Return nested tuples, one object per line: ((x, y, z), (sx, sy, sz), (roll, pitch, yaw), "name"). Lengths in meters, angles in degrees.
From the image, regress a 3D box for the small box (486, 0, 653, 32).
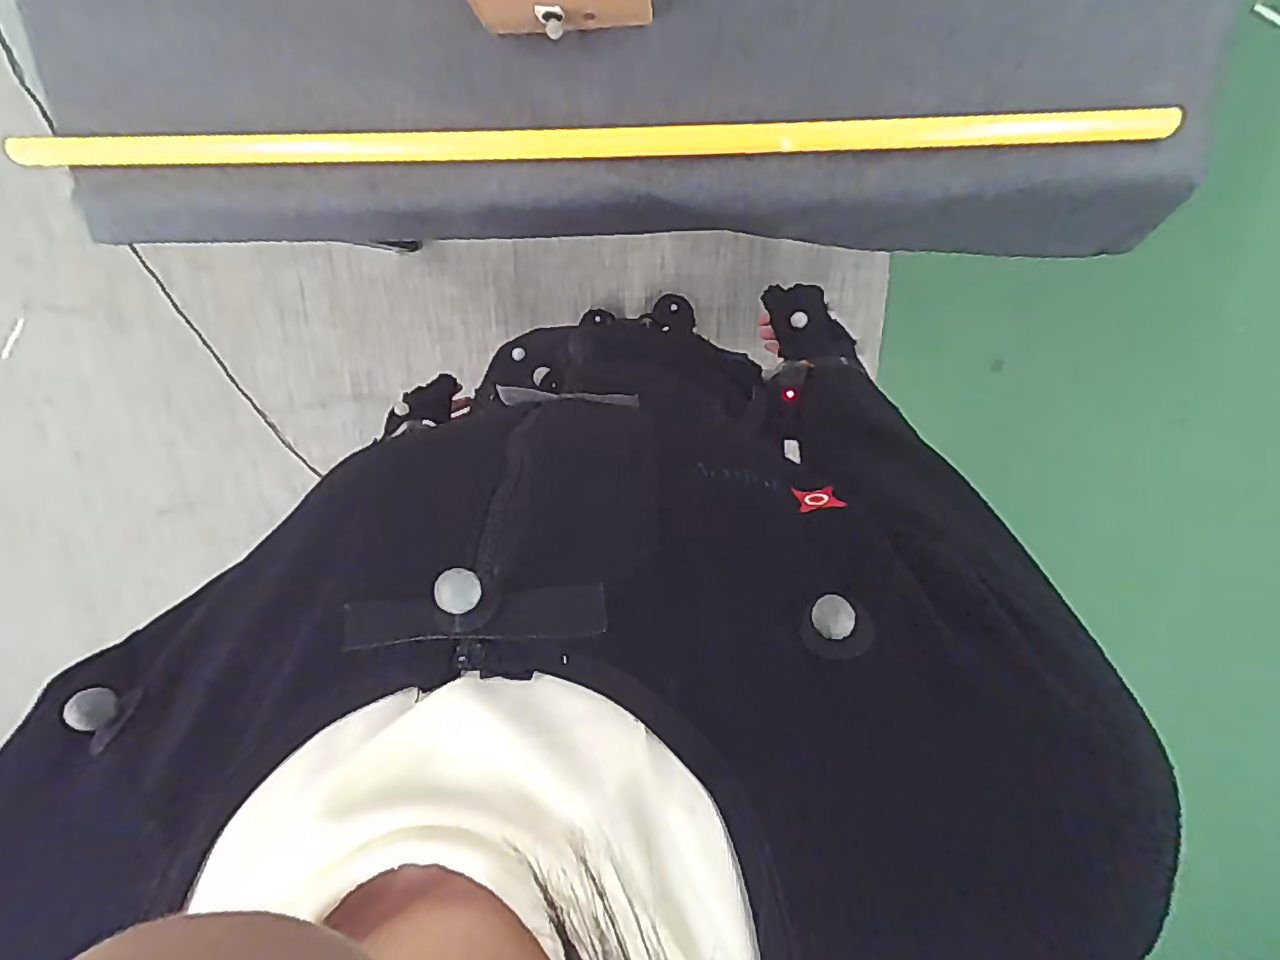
((-0.077, -0.518, 0.446), (0.168, 0.176, 0.179), (-2, 109, 5), "small box")
